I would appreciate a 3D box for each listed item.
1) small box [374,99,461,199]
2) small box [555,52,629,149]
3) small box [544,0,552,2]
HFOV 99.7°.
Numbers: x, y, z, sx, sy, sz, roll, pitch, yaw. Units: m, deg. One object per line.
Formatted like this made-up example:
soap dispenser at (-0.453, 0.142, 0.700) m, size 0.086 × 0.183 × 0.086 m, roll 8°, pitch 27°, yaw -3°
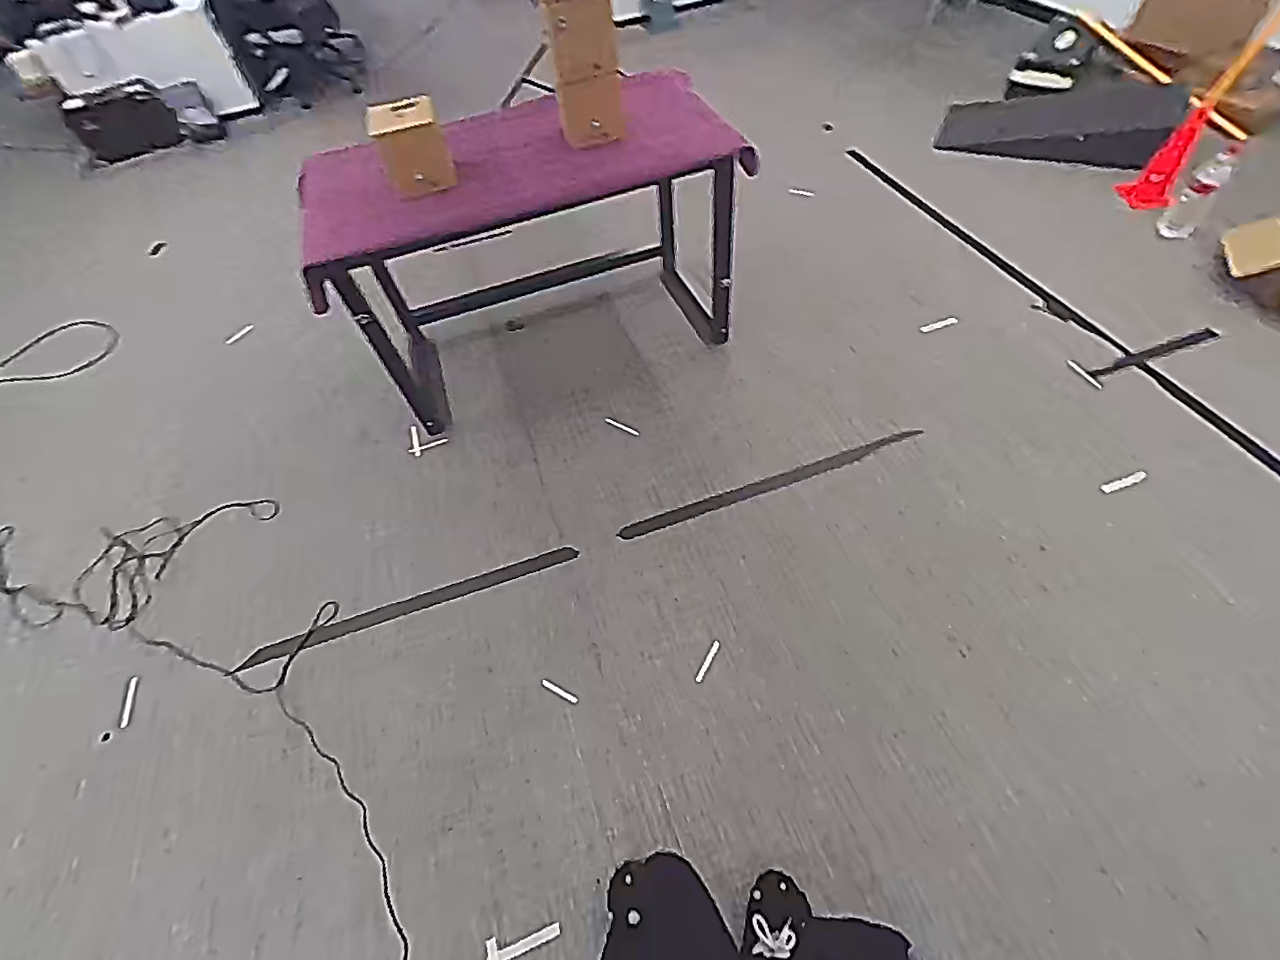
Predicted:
small box at (-0.605, -0.903, 1.478) m, size 0.168 × 0.176 × 0.179 m, roll -17°, pitch 56°, yaw -5°
small box at (-0.136, -1.083, 1.547) m, size 0.168 × 0.176 × 0.179 m, roll -15°, pitch 55°, yaw -2°
small box at (-0.171, -1.263, 1.276) m, size 0.168 × 0.176 × 0.179 m, roll -12°, pitch 54°, yaw -3°
